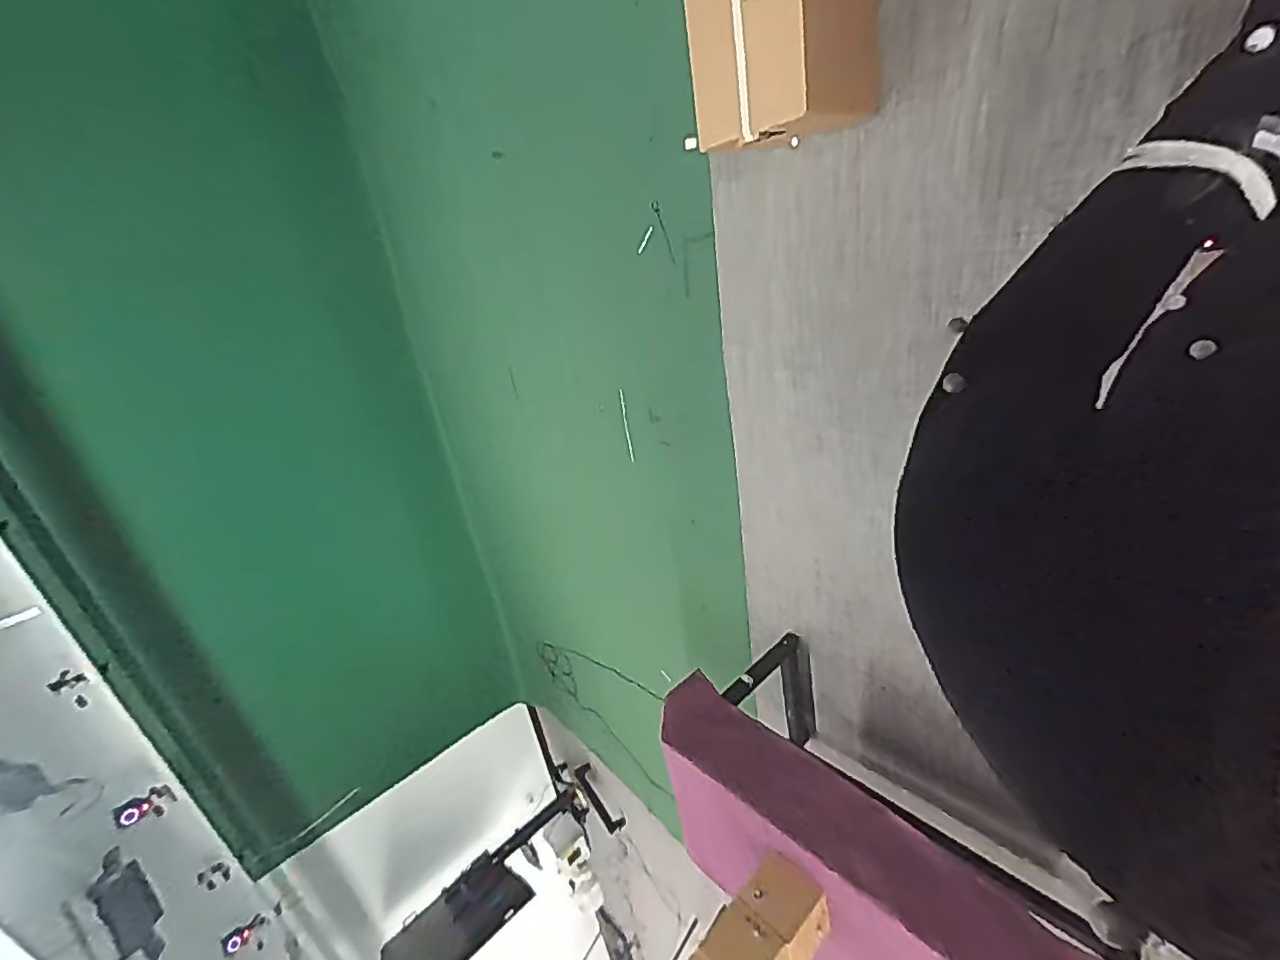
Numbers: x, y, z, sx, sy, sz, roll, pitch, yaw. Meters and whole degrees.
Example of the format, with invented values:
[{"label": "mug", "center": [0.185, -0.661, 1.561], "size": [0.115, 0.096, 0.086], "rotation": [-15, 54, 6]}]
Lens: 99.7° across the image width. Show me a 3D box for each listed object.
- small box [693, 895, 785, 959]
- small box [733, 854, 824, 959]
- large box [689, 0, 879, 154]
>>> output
[{"label": "small box", "center": [0.263, 1.243, 1.395], "size": [0.168, 0.176, 0.179], "rotation": [12, 121, 48]}, {"label": "small box", "center": [0.382, 1.180, 1.486], "size": [0.179, 0.176, 0.168], "rotation": [14, 124, 48]}, {"label": "large box", "center": [0.340, -1.030, 1.267], "size": [0.320, 0.320, 0.408], "rotation": [17, 124, 47]}]
